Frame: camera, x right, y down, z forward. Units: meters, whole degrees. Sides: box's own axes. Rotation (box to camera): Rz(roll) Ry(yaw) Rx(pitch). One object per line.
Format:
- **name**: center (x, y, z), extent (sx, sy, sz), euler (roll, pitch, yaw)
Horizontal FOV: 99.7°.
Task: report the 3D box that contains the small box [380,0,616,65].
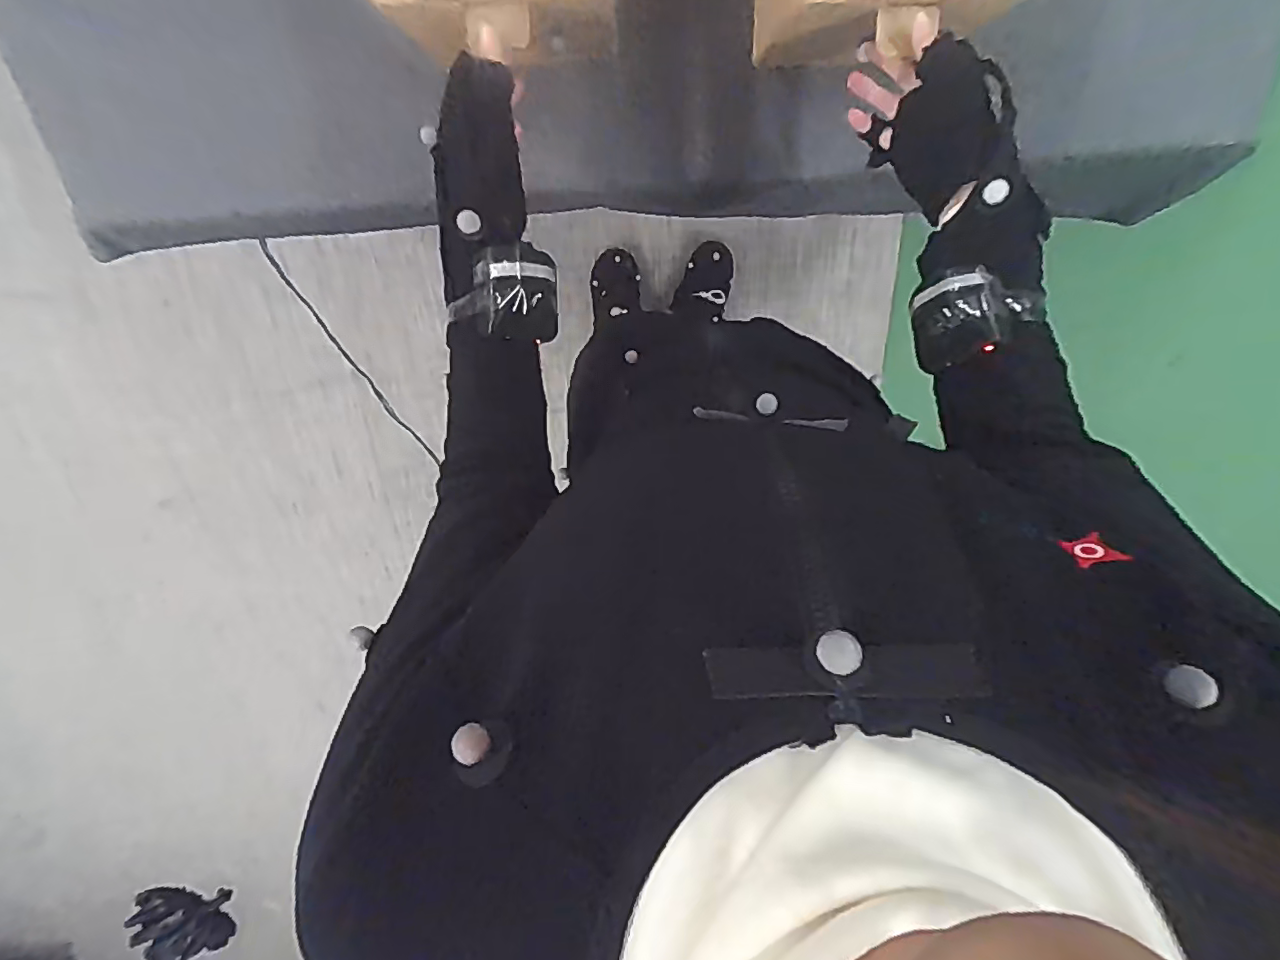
- **small box**: center (-0.107, -0.443, 0.411), extent (0.168, 0.176, 0.179), euler (-5, 113, 0)
